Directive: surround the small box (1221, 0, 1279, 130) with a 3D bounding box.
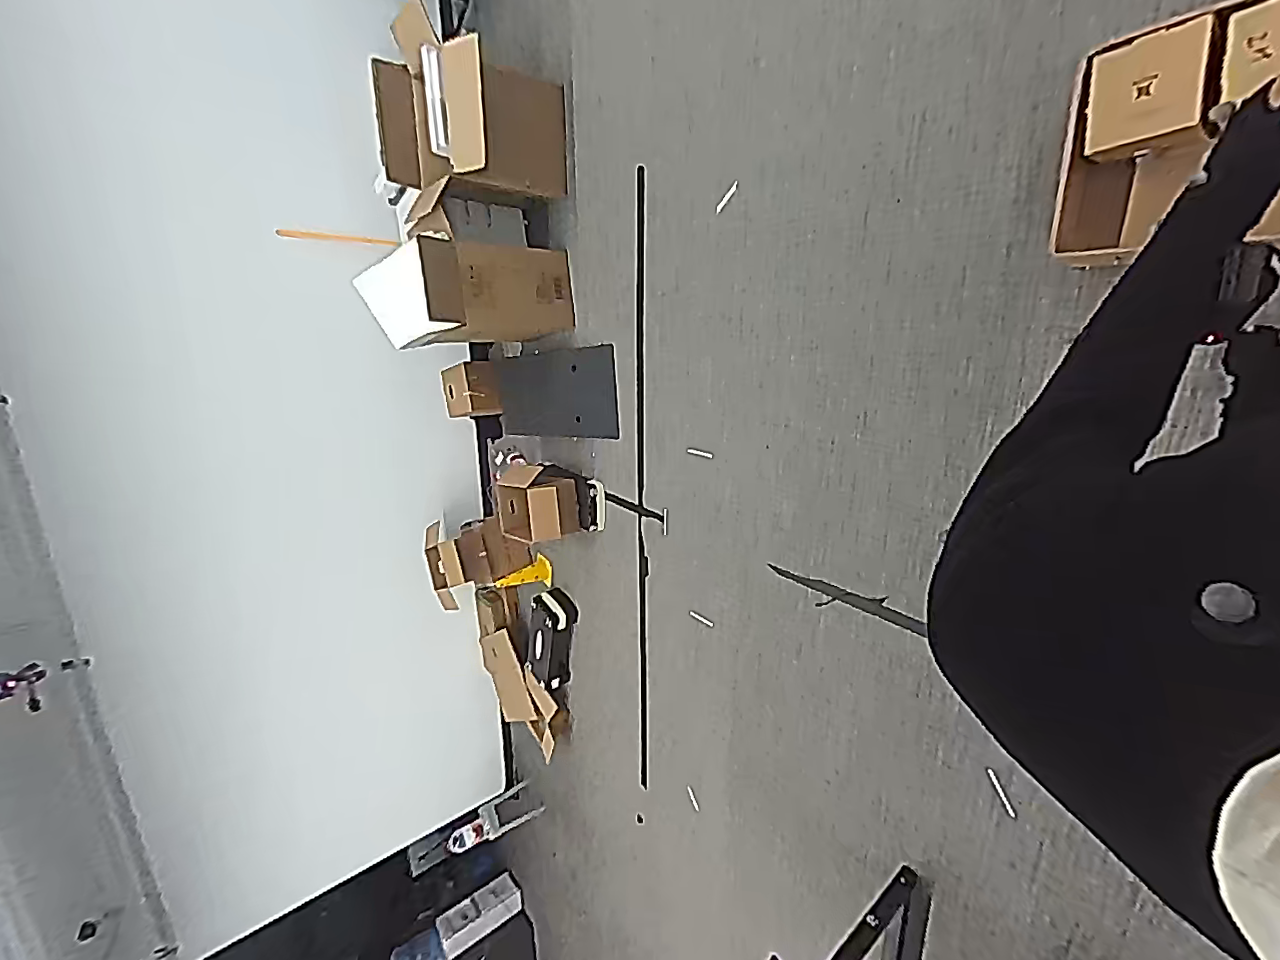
[{"bbox_3d":[1.112,-0.714,0.897,0.179,0.176,0.168,10,108,50],"label":"small box"}]
